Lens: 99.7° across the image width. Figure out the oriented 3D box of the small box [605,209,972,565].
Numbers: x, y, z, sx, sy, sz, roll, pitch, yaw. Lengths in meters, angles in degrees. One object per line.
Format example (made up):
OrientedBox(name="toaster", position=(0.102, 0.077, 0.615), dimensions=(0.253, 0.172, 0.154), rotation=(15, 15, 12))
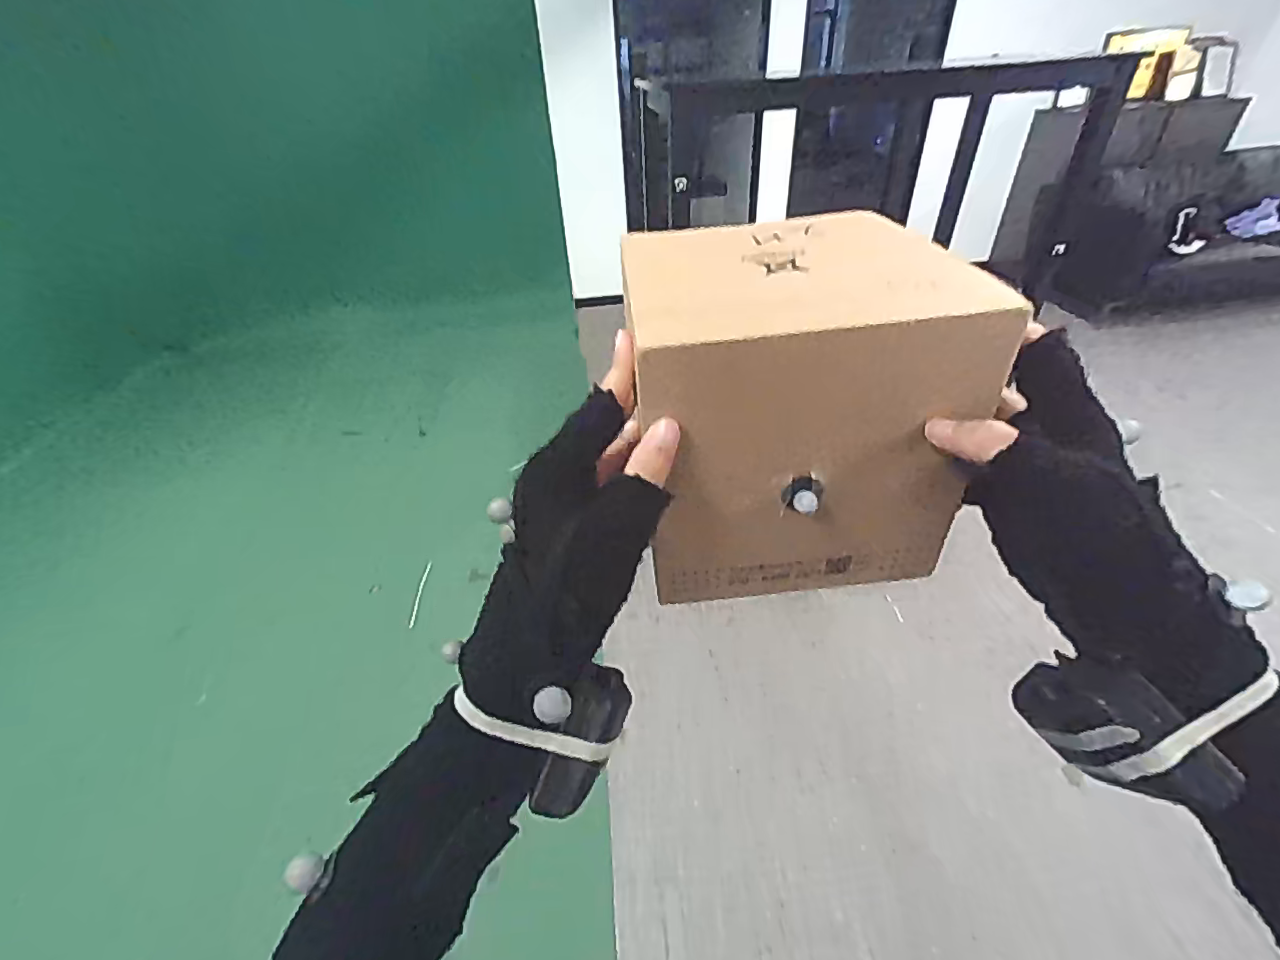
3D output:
OrientedBox(name="small box", position=(0.070, -0.059, 0.350), dimensions=(0.168, 0.176, 0.179), rotation=(-5, 37, 0))
